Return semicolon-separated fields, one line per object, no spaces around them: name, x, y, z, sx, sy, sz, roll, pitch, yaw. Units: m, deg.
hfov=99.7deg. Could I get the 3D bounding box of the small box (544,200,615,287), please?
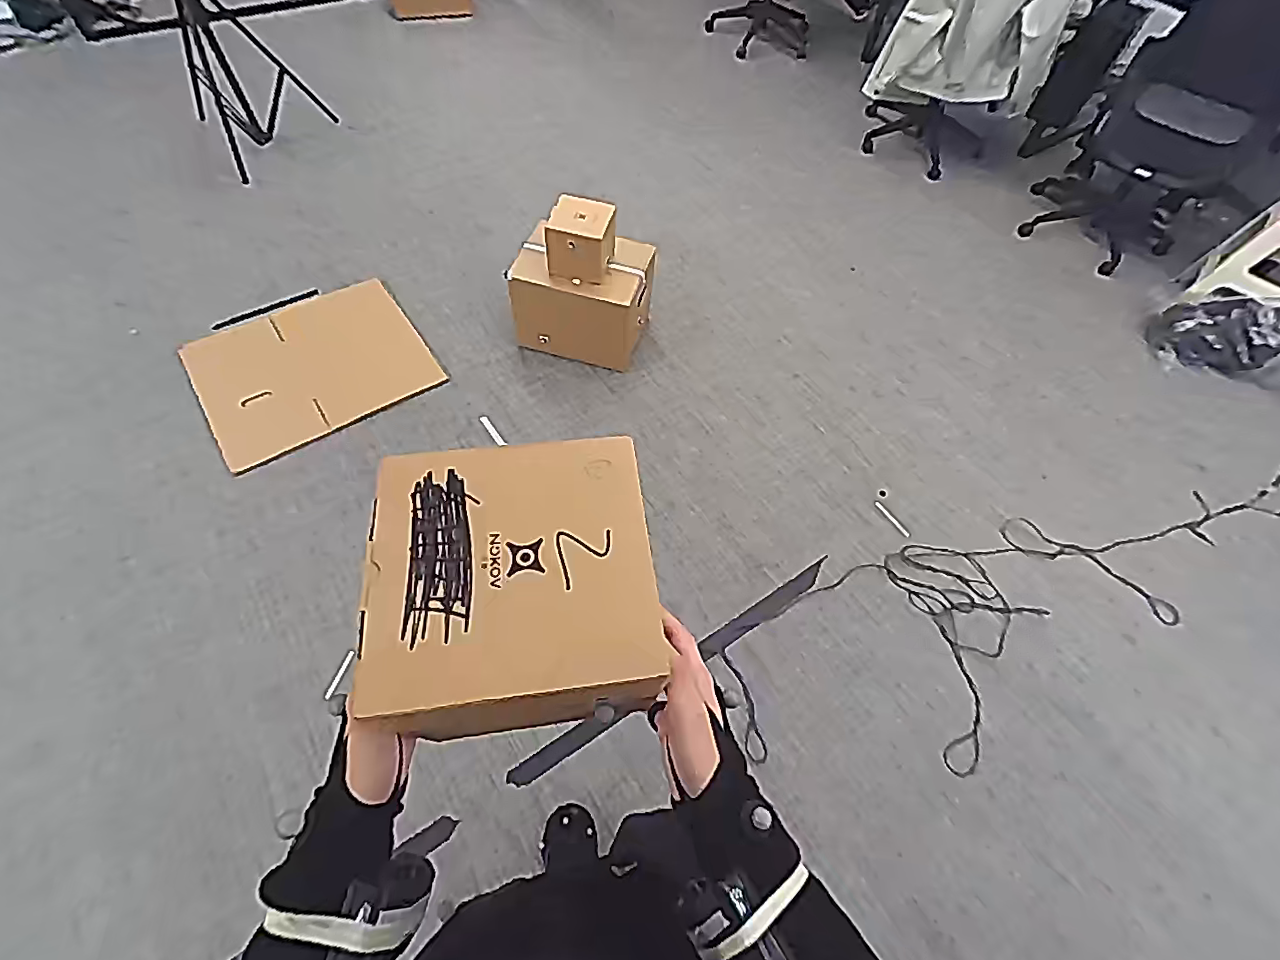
small box;-0.183;-0.723;1.666;0.179;0.176;0.168;14;61;3
